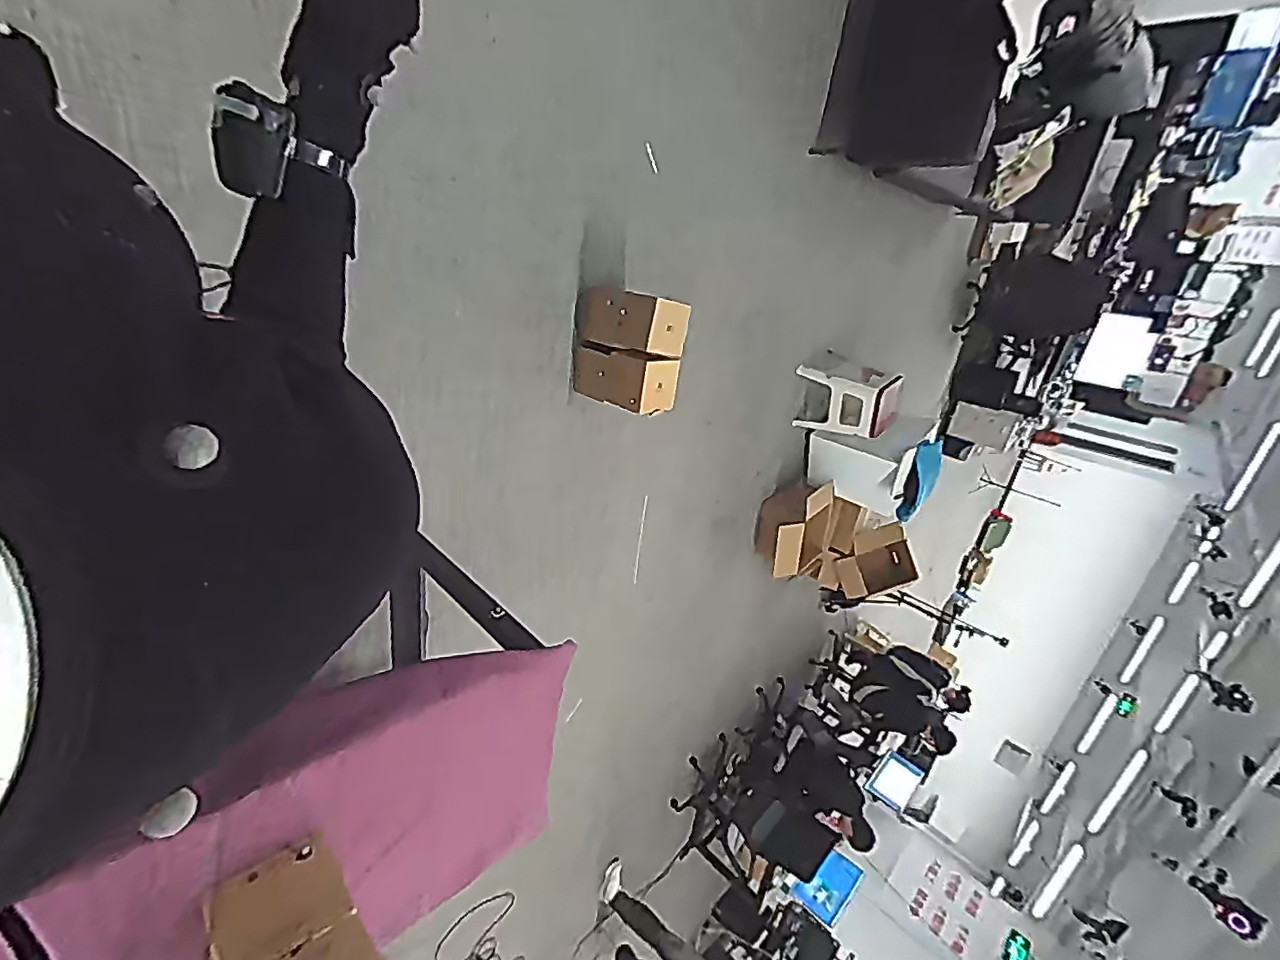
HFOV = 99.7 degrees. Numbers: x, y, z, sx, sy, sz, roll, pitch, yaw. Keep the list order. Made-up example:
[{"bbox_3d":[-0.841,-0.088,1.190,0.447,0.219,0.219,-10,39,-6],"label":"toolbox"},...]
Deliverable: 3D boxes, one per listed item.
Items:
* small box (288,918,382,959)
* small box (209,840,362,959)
[{"bbox_3d":[-0.443,0.784,0.758,0.168,0.176,0.179,-13,119,-45],"label":"small box"},{"bbox_3d":[-0.558,0.719,0.856,0.168,0.176,0.179,-12,120,-45],"label":"small box"}]
